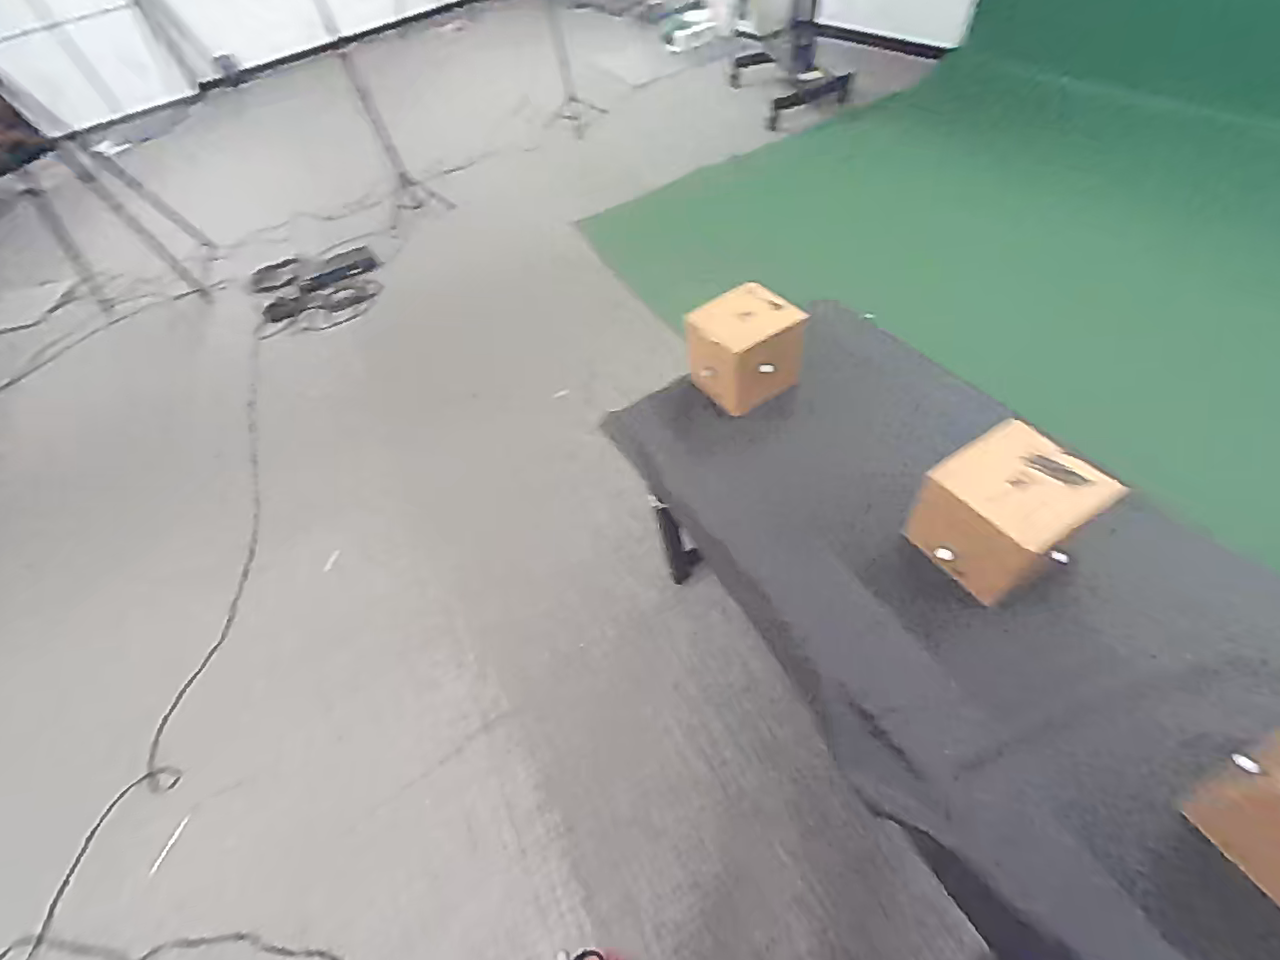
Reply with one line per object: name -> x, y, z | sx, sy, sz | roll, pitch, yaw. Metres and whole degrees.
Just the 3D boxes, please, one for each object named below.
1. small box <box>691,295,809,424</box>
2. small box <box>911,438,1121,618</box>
small box -> 0.229, -0.249, 1.133 | 0.179, 0.176, 0.168 | -30, 53, -13
small box -> 0.548, 0.075, 0.819 | 0.179, 0.176, 0.168 | -29, 52, -11
